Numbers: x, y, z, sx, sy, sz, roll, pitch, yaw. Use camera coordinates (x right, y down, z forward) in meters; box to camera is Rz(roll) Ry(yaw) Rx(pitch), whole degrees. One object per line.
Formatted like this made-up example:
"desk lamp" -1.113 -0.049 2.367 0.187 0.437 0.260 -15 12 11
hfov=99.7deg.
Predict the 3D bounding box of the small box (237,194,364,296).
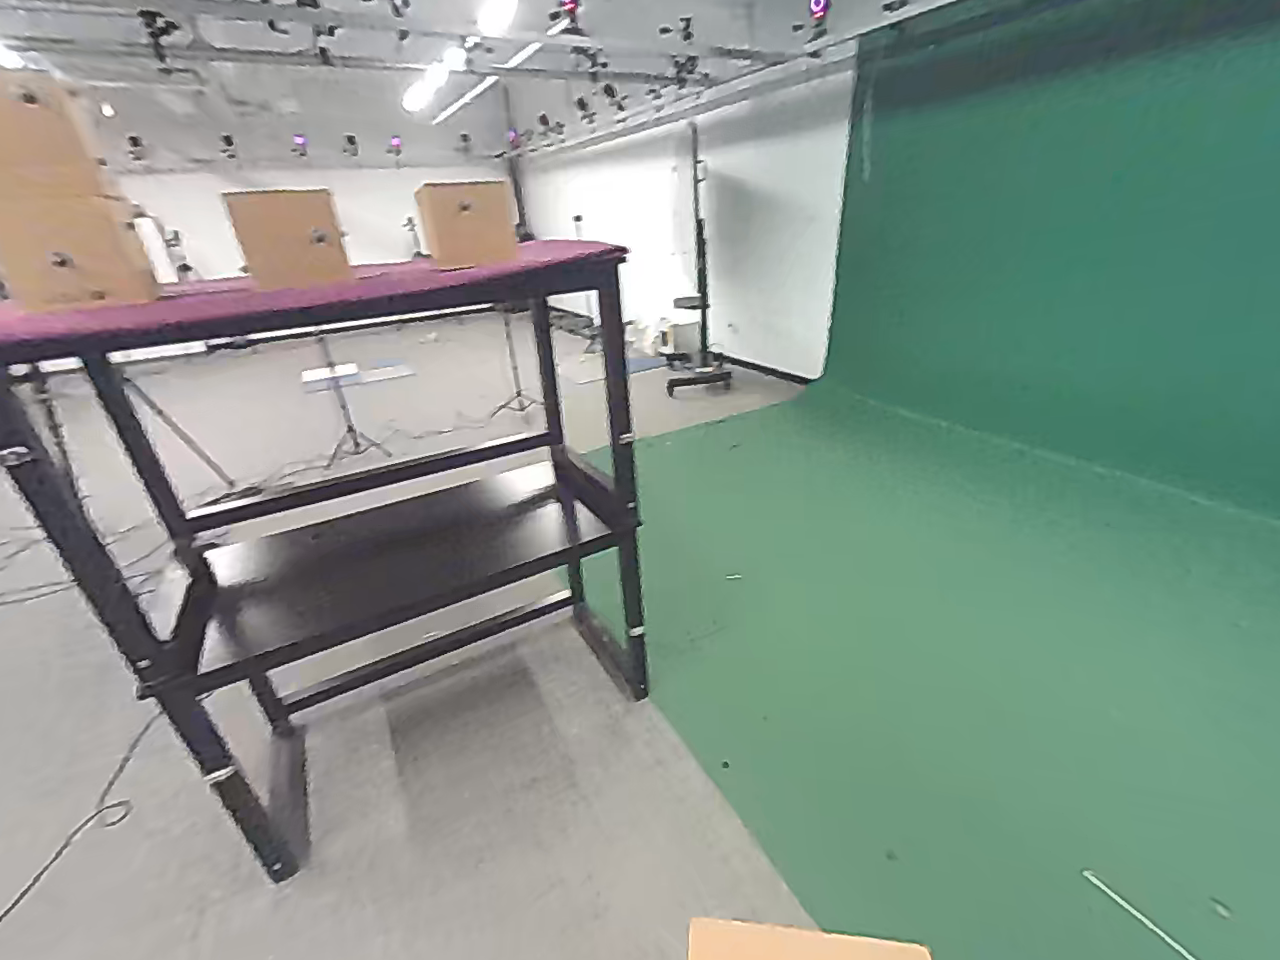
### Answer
"small box" -0.670 -0.473 1.085 0.179 0.176 0.168 -18 29 -26

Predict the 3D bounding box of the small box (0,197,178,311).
"small box" -0.945 -0.392 0.940 0.168 0.176 0.179 -16 29 -27

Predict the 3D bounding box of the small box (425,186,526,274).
"small box" -0.379 -0.572 1.250 0.179 0.176 0.168 -16 26 -24

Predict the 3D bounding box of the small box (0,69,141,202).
"small box" -0.956 -0.536 0.865 0.179 0.176 0.168 -17 30 -29
